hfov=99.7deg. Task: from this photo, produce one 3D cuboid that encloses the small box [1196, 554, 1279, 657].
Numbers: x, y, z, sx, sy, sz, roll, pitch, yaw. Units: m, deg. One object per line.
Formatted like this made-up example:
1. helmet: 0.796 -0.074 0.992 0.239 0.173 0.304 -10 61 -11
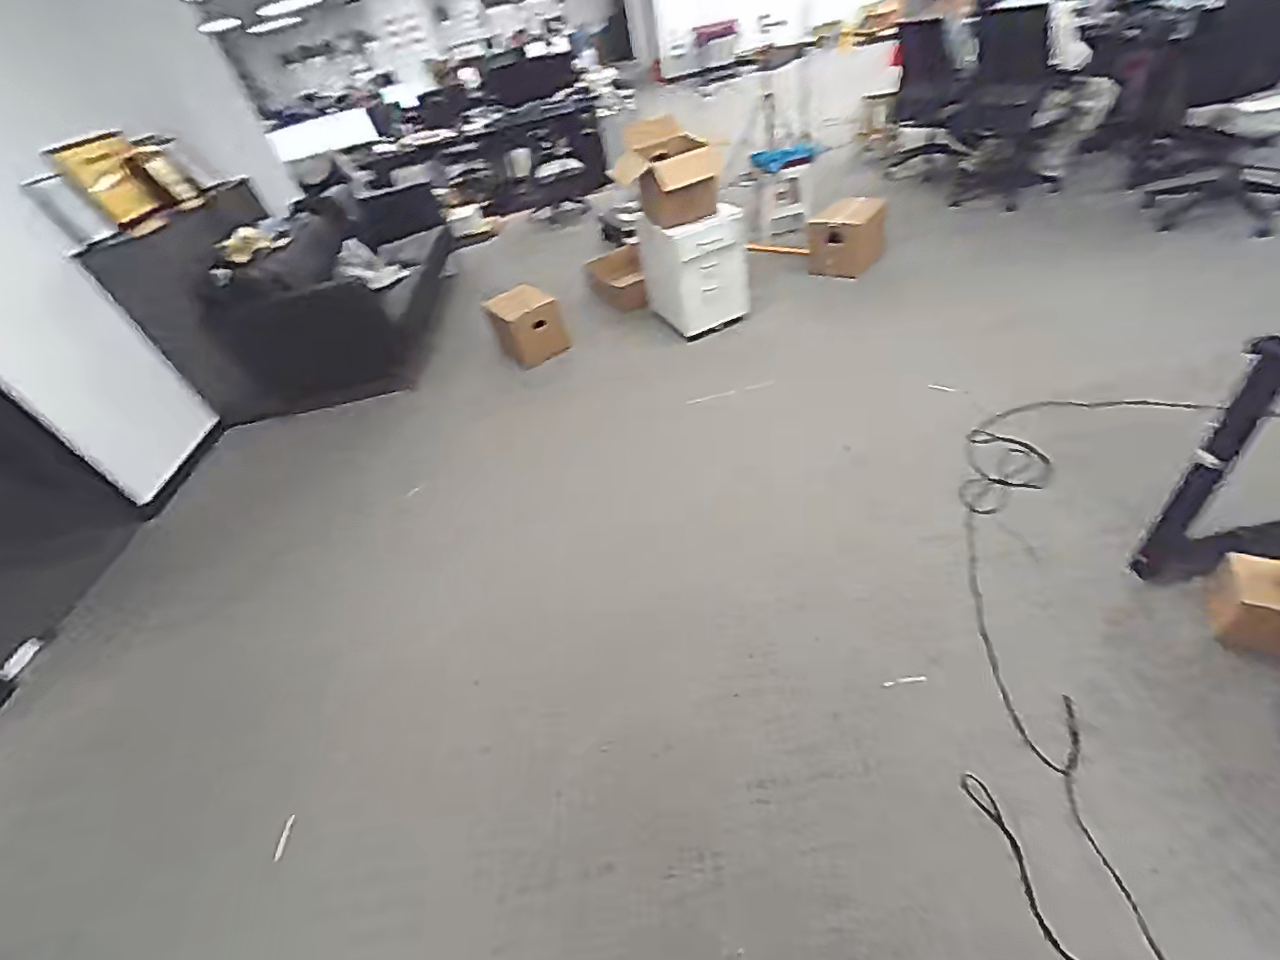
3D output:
1. small box: 1.545 0.316 1.351 0.179 0.176 0.168 12 47 27
